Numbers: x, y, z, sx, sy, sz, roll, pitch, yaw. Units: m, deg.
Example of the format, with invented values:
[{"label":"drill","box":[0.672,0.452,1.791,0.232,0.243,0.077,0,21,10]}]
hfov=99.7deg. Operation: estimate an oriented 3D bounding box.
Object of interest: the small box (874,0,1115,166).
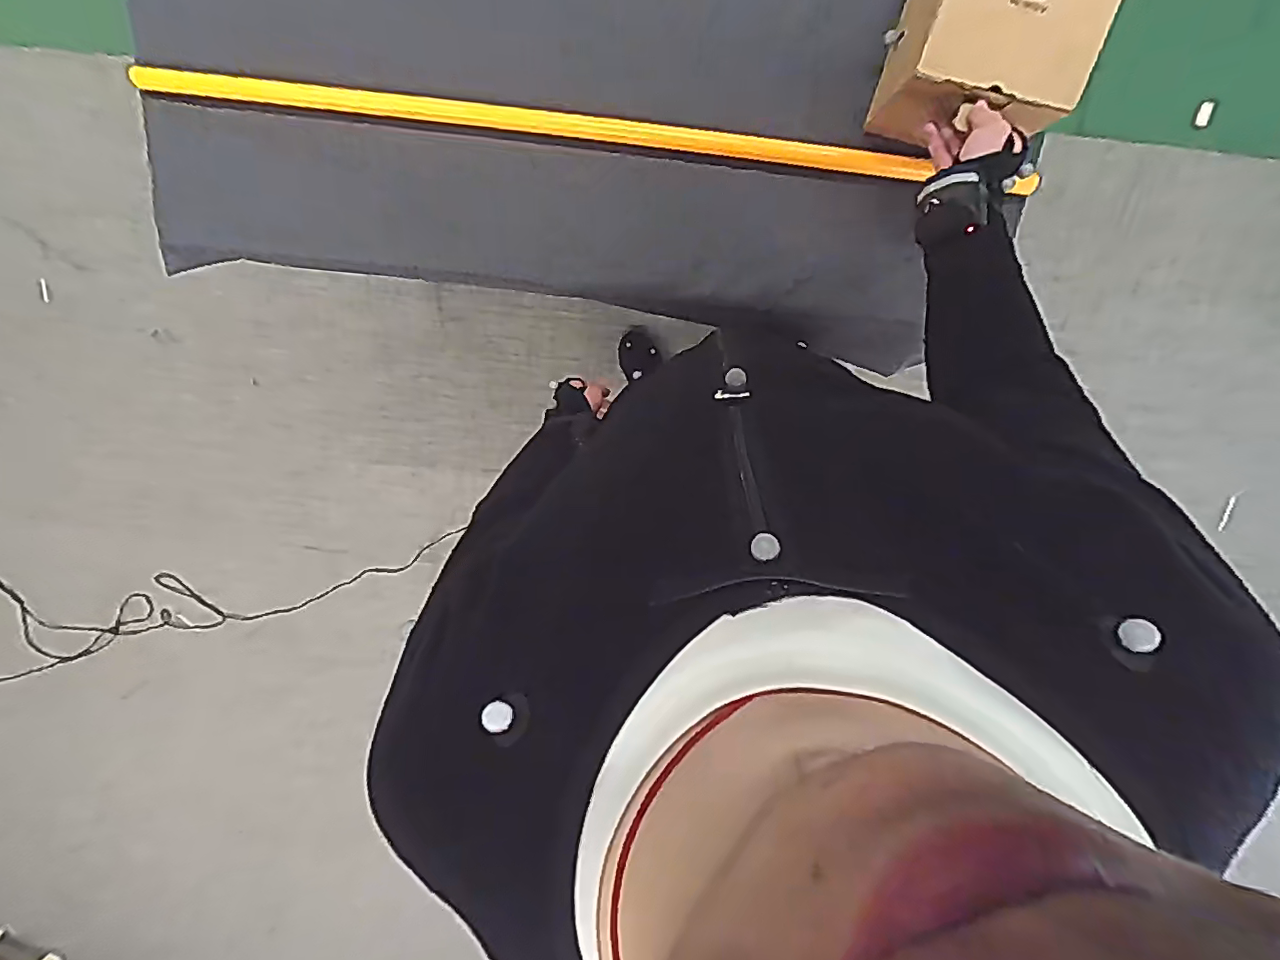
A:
[{"label":"small box","box":[0.387,-0.485,0.614,0.168,0.176,0.179,13,105,3]}]
